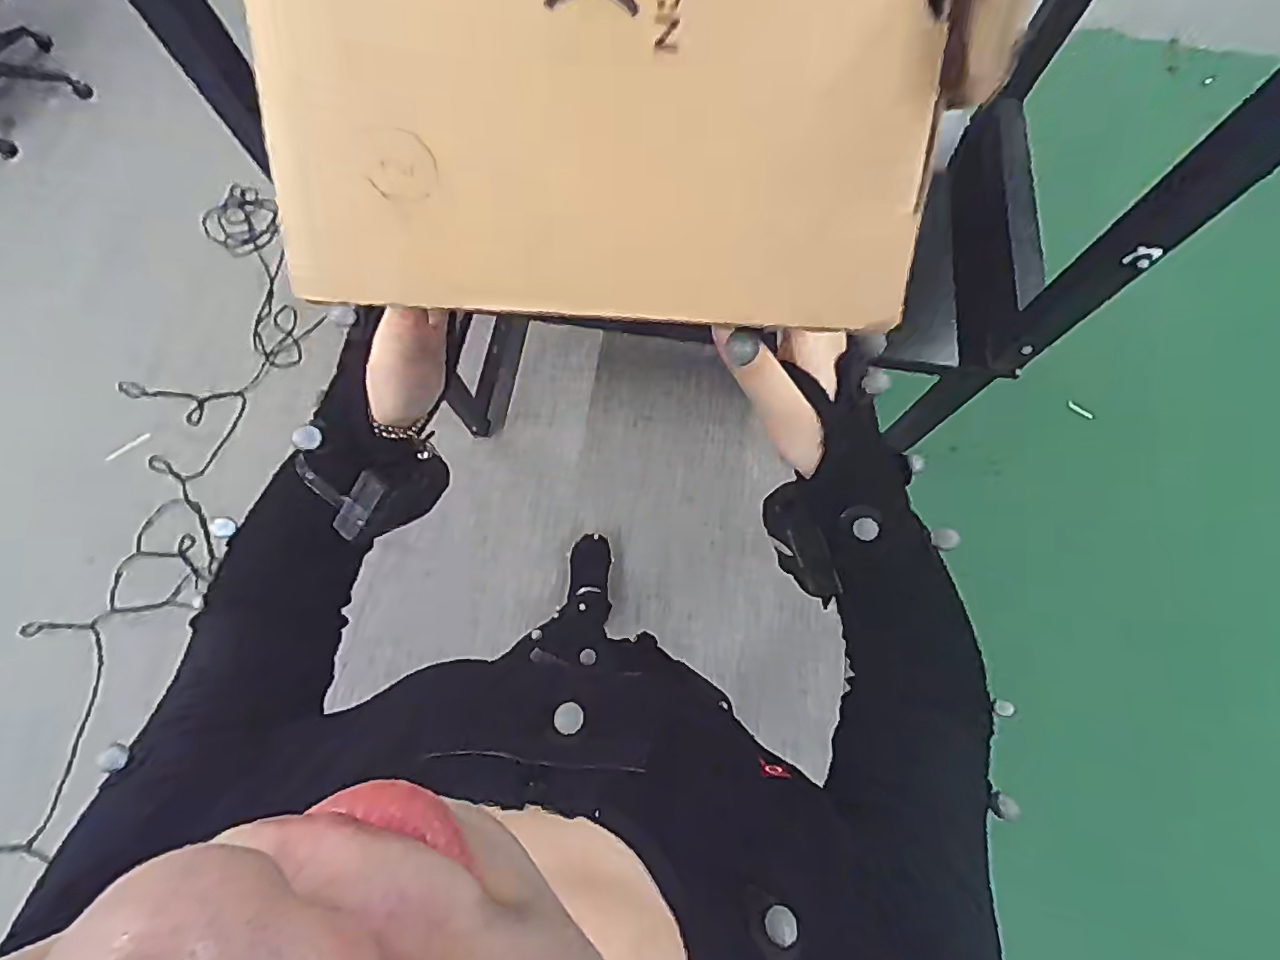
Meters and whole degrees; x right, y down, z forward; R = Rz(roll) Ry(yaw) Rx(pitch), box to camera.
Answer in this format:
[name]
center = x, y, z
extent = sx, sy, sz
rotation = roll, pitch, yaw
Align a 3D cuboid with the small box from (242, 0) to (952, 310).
[small box]
center = -0.011, -0.157, 0.202
extent = 0.179, 0.176, 0.168
rotation = 2, 111, -3
